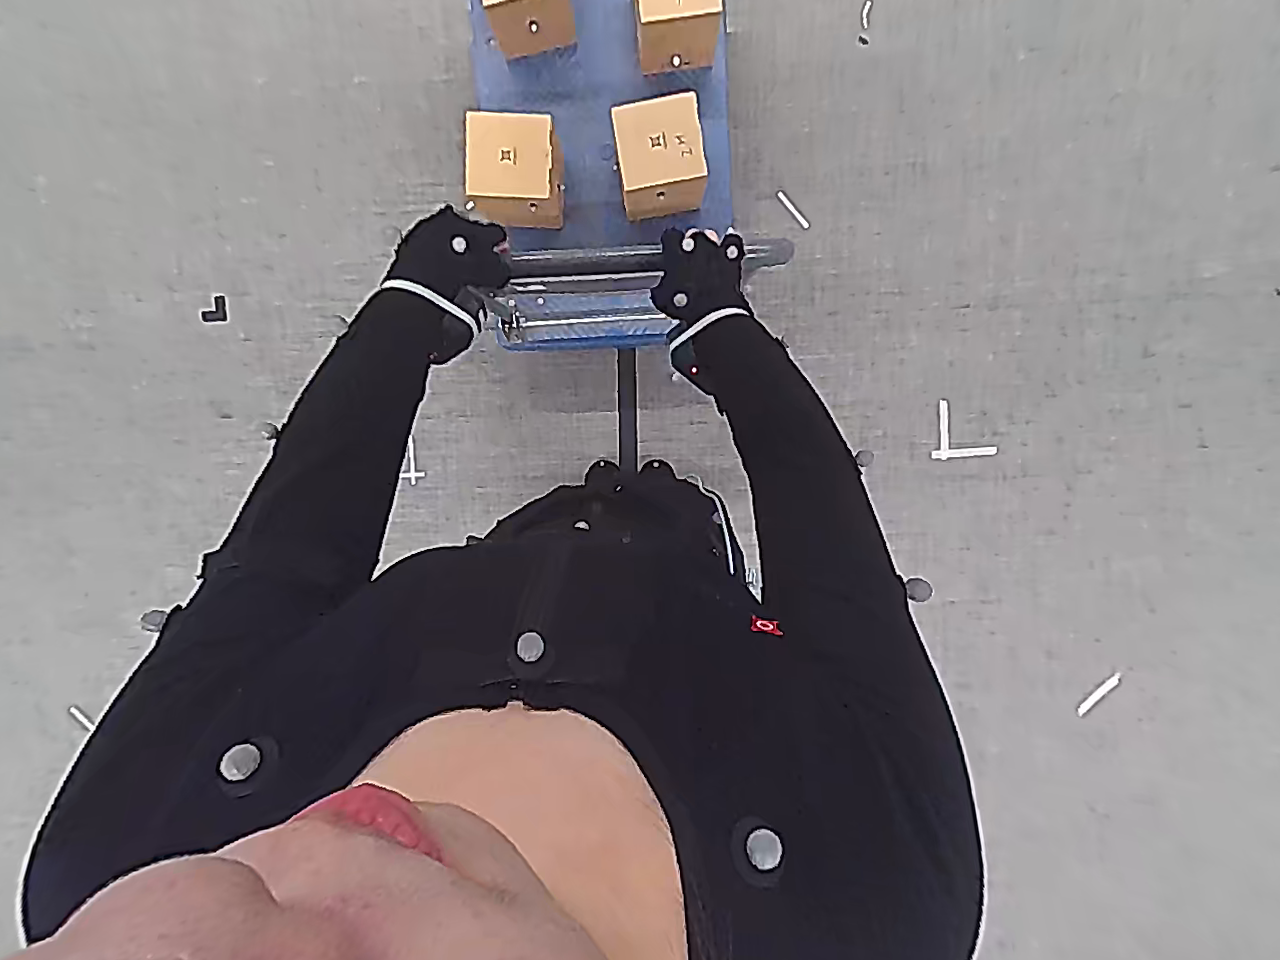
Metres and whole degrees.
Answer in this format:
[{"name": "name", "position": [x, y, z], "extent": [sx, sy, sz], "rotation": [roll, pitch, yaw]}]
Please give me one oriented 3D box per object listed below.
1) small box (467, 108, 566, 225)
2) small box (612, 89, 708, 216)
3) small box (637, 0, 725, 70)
[{"name": "small box", "position": [-0.263, -0.672, 1.176], "extent": [0.179, 0.176, 0.168], "rotation": [2, 96, -1]}, {"name": "small box", "position": [0.045, -0.693, 1.166], "extent": [0.179, 0.176, 0.168], "rotation": [-9, 96, 3]}, {"name": "small box", "position": [0.079, -1.011, 1.131], "extent": [0.168, 0.176, 0.179], "rotation": [-6, 97, 2]}]
